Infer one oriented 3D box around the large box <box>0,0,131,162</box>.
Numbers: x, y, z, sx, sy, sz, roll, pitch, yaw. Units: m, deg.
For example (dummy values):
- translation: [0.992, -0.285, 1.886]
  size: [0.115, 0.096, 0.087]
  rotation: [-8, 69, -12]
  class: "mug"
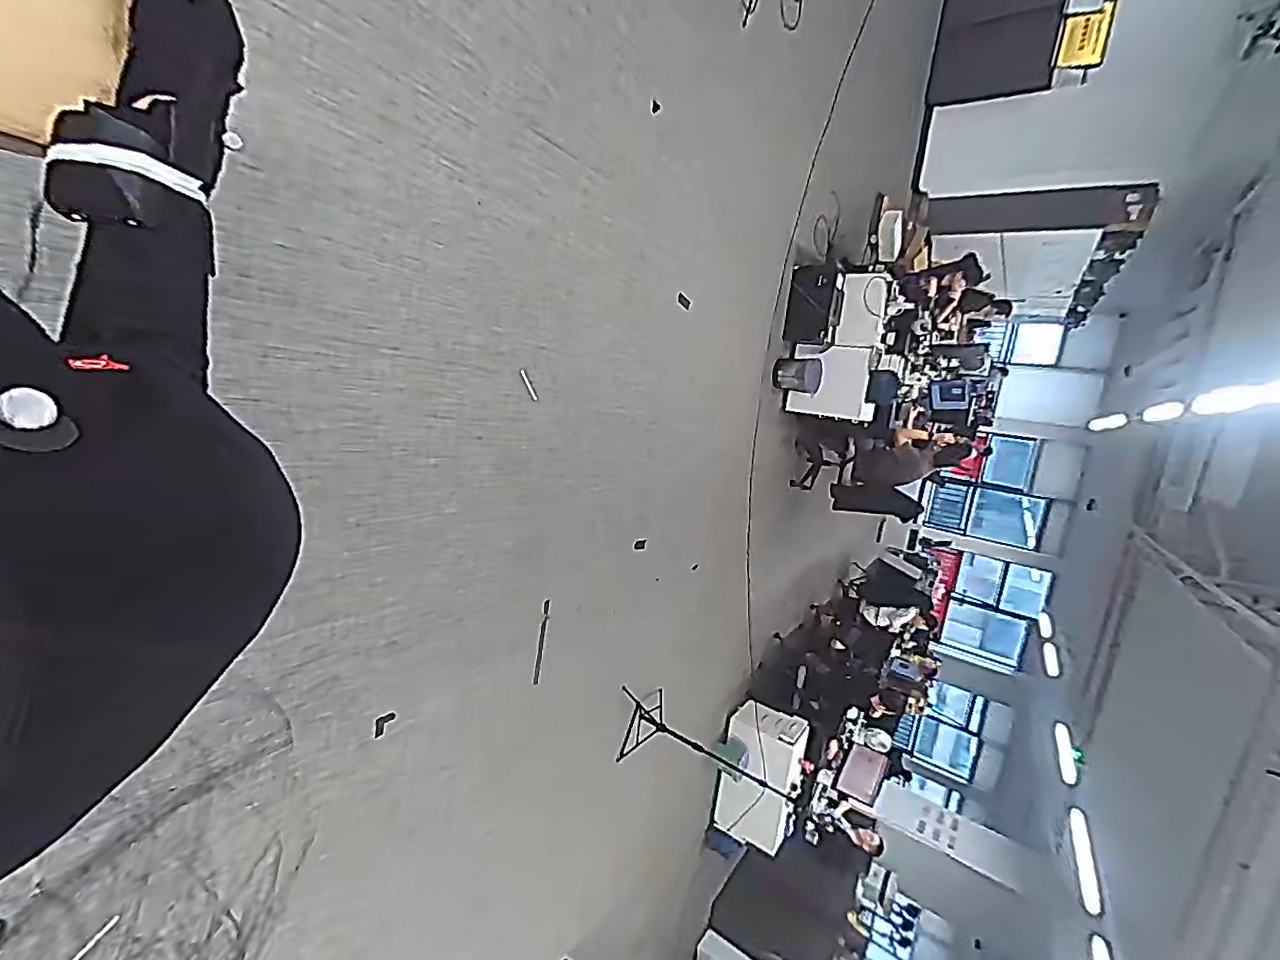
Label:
- translation: [-0.588, -0.425, 0.287]
  size: [0.408, 0.320, 0.320]
  rotation: [-5, 115, -59]
  class: "large box"
